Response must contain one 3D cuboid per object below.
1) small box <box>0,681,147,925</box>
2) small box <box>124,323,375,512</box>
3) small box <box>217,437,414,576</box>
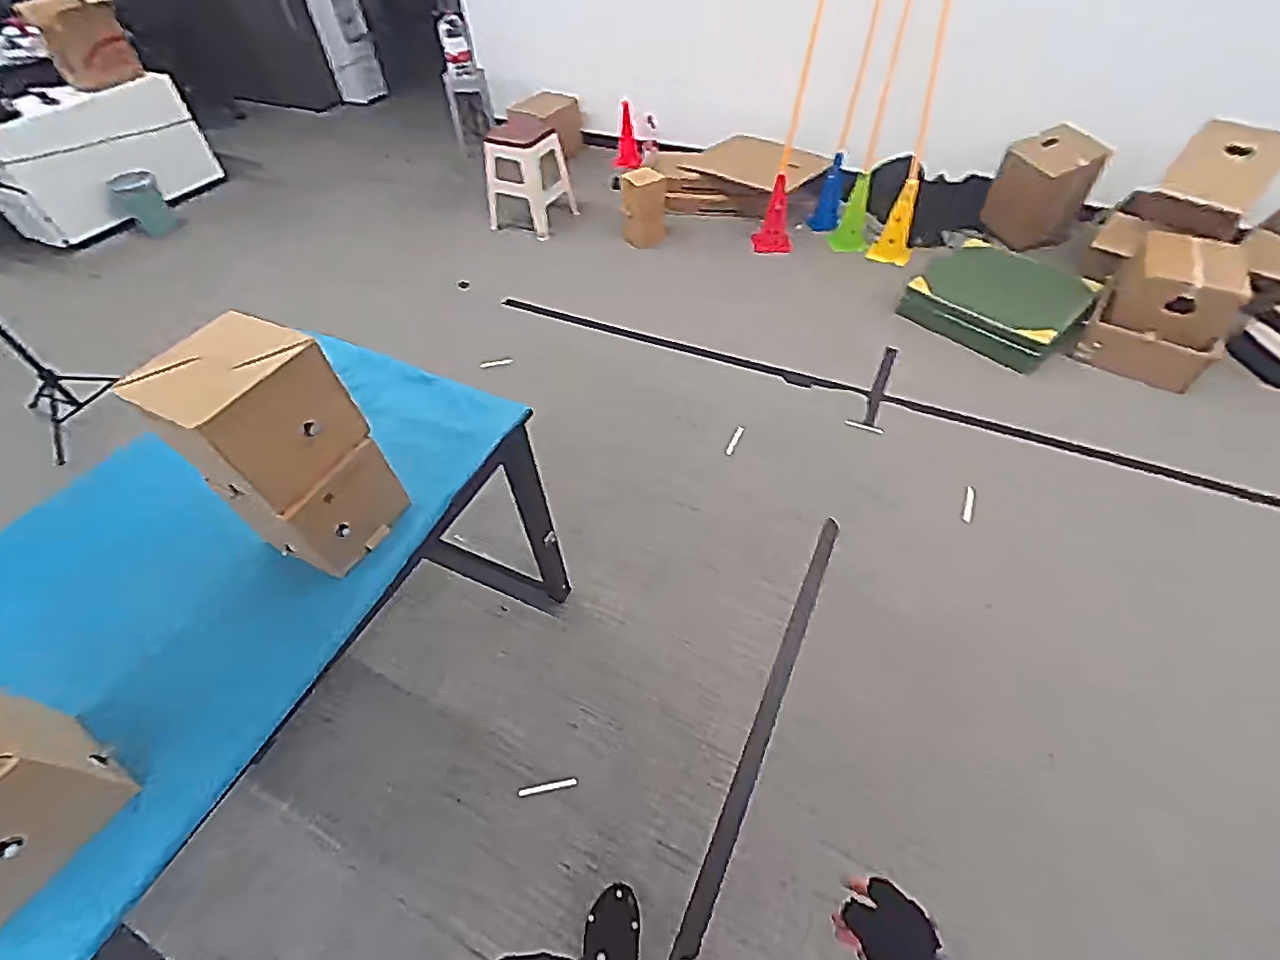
[{"bbox_3d":[-0.720,0.341,0.587,0.179,0.176,0.168,24,54,20],"label":"small box"},{"bbox_3d":[-0.511,-0.093,0.730,0.168,0.176,0.179,20,56,19],"label":"small box"},{"bbox_3d":[-0.503,0.018,0.850,0.179,0.176,0.168,19,53,17],"label":"small box"}]
